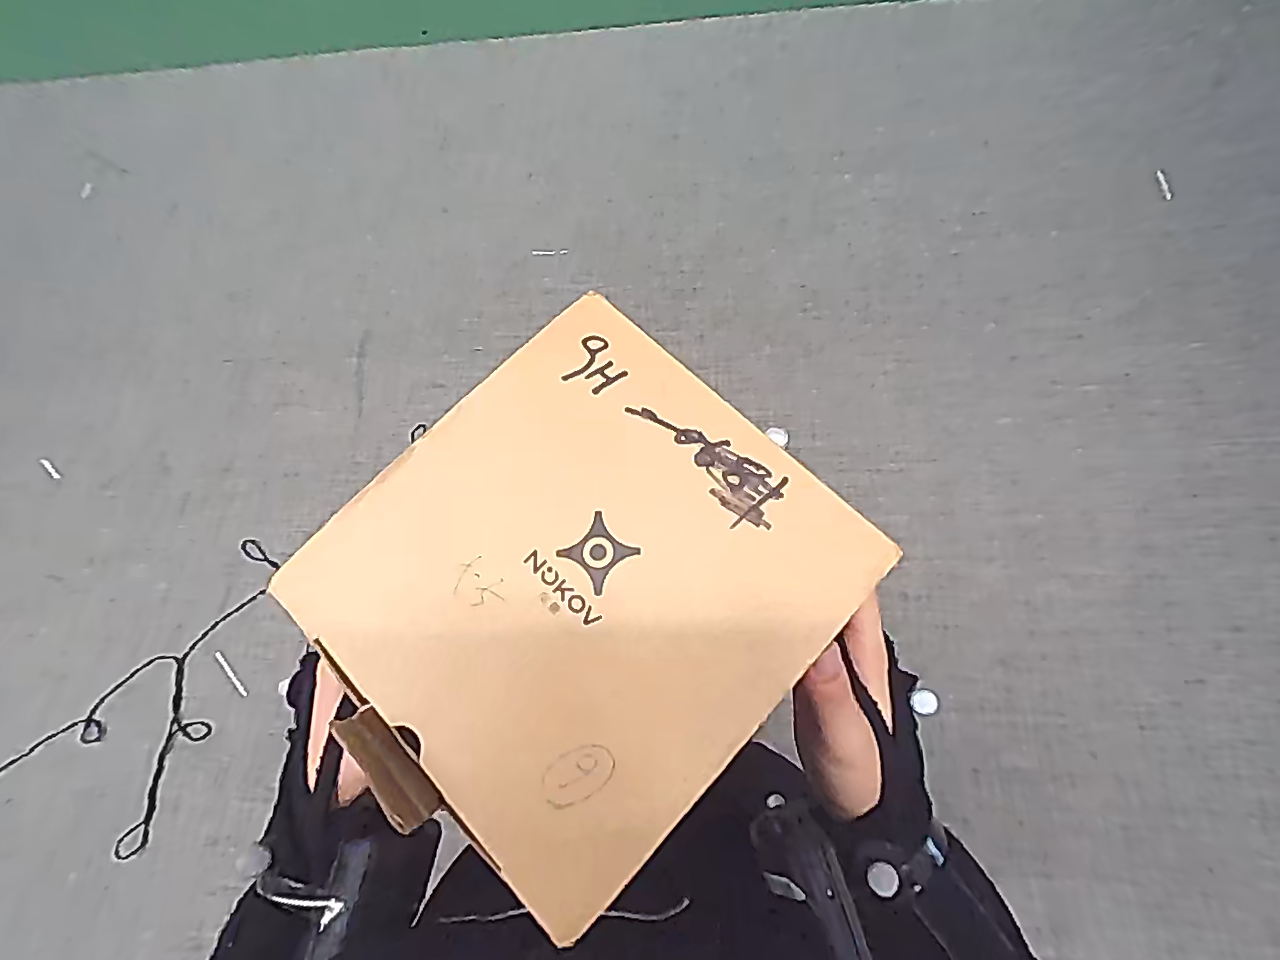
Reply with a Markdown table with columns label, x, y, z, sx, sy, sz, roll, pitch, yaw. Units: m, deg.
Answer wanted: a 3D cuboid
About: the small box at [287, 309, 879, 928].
| label | x | y | z | sx | sy | sz | roll | pitch | yaw |
| --- | --- | --- | --- | --- | --- | --- | --- | --- | --- |
| small box | -0.020 | 0.058 | 0.284 | 0.168 | 0.176 | 0.179 | 43 | 81 | 12 |
